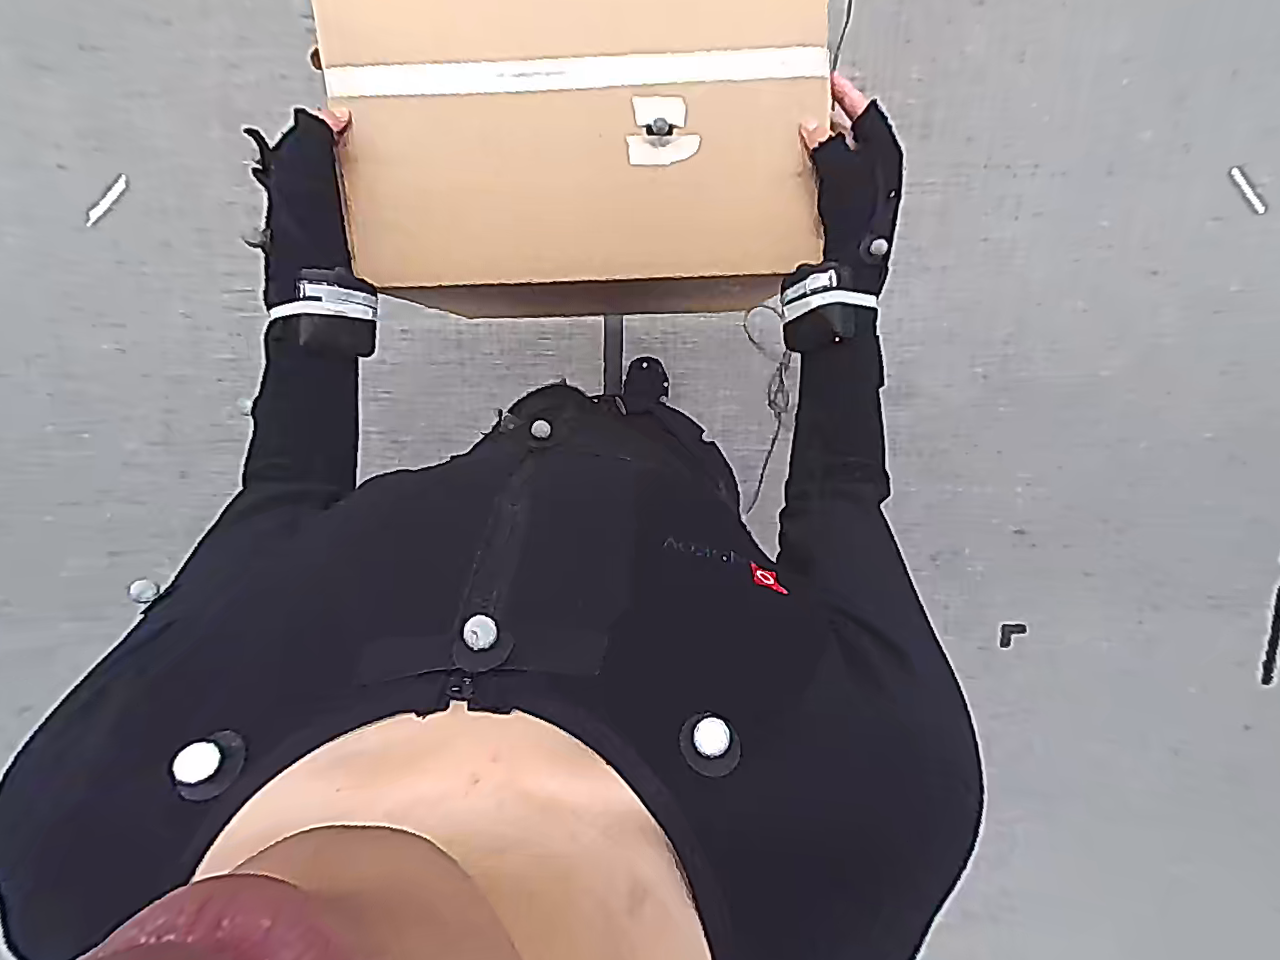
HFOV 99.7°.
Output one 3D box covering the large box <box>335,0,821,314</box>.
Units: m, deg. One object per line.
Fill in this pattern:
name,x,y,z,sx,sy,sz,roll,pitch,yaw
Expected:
large box,-0.050,-0.368,0.597,0.408,0.320,0.320,-3,103,0
